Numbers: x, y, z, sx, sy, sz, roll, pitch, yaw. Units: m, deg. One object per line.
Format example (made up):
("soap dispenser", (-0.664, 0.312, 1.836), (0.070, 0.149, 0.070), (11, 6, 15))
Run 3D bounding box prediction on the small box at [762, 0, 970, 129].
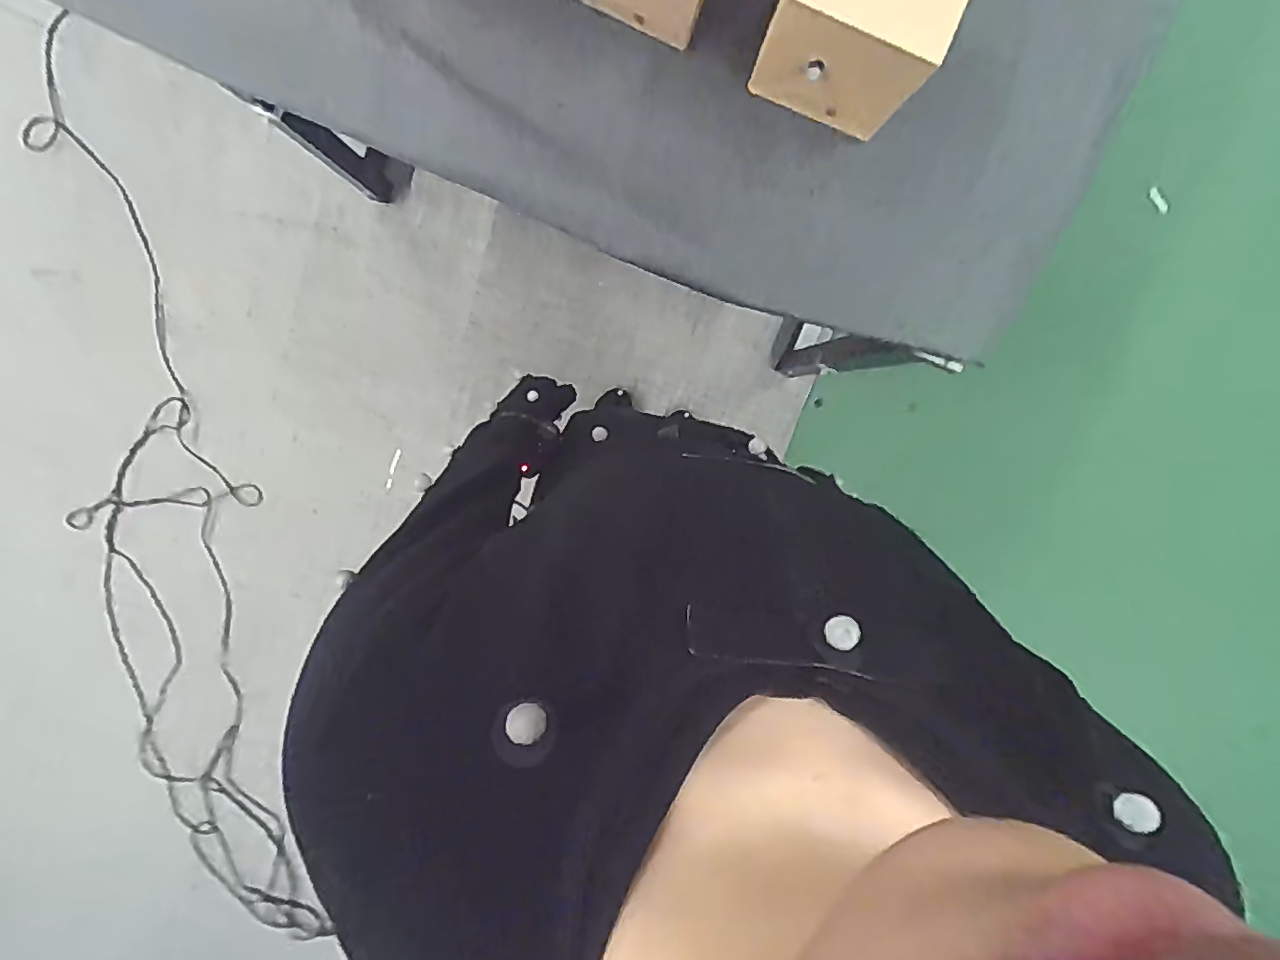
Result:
("small box", (0.244, -0.520, 0.574), (0.168, 0.176, 0.179), (20, 98, -4))
